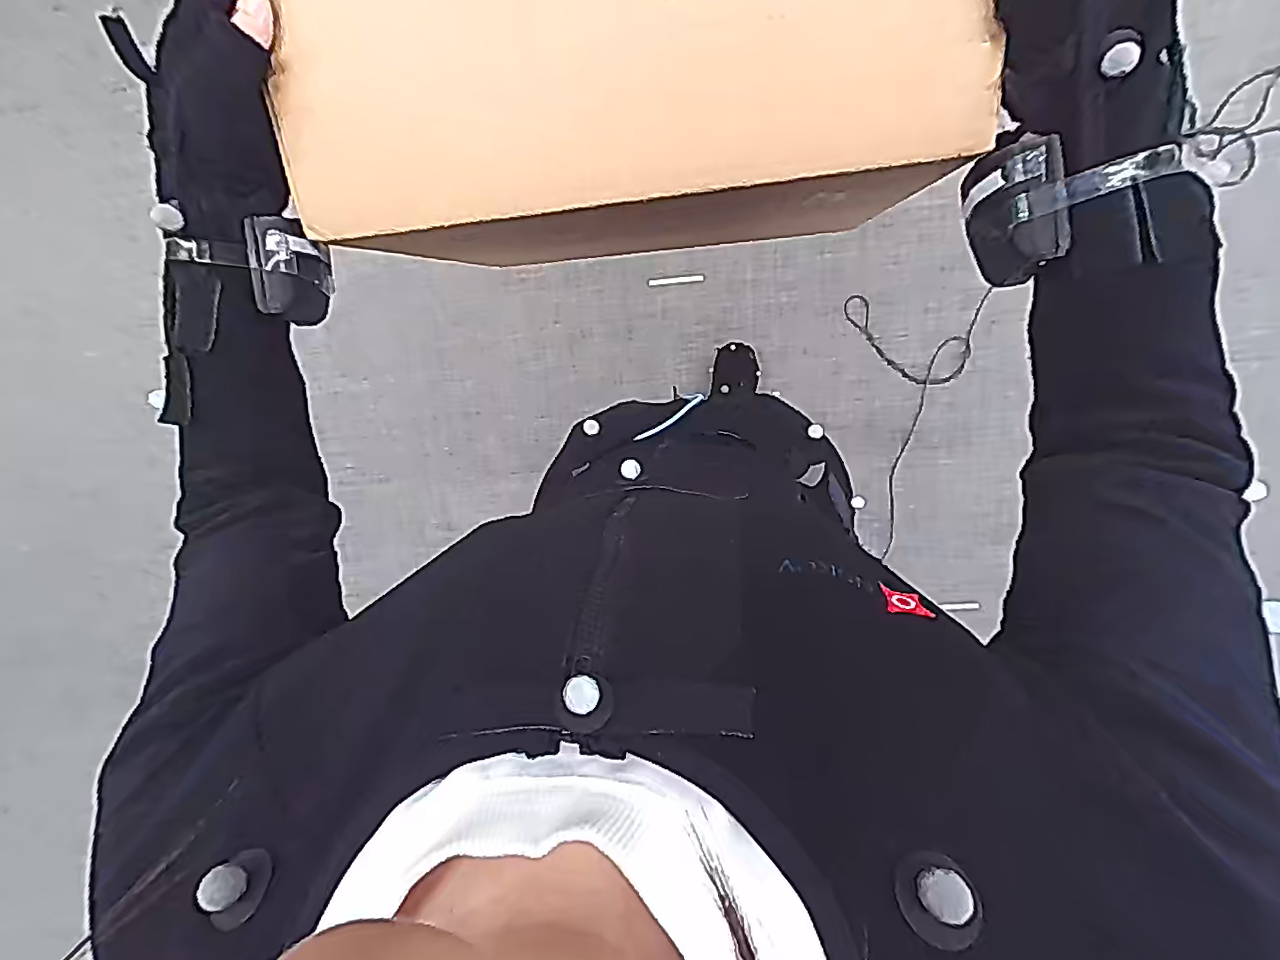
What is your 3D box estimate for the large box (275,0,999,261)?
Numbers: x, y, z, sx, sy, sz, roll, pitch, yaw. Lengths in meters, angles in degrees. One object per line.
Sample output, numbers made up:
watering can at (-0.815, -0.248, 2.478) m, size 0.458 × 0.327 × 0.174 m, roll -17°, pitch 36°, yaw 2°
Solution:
large box at (-0.003, -0.368, 0.419) m, size 0.408 × 0.320 × 0.320 m, roll -3°, pitch 109°, yaw 9°
